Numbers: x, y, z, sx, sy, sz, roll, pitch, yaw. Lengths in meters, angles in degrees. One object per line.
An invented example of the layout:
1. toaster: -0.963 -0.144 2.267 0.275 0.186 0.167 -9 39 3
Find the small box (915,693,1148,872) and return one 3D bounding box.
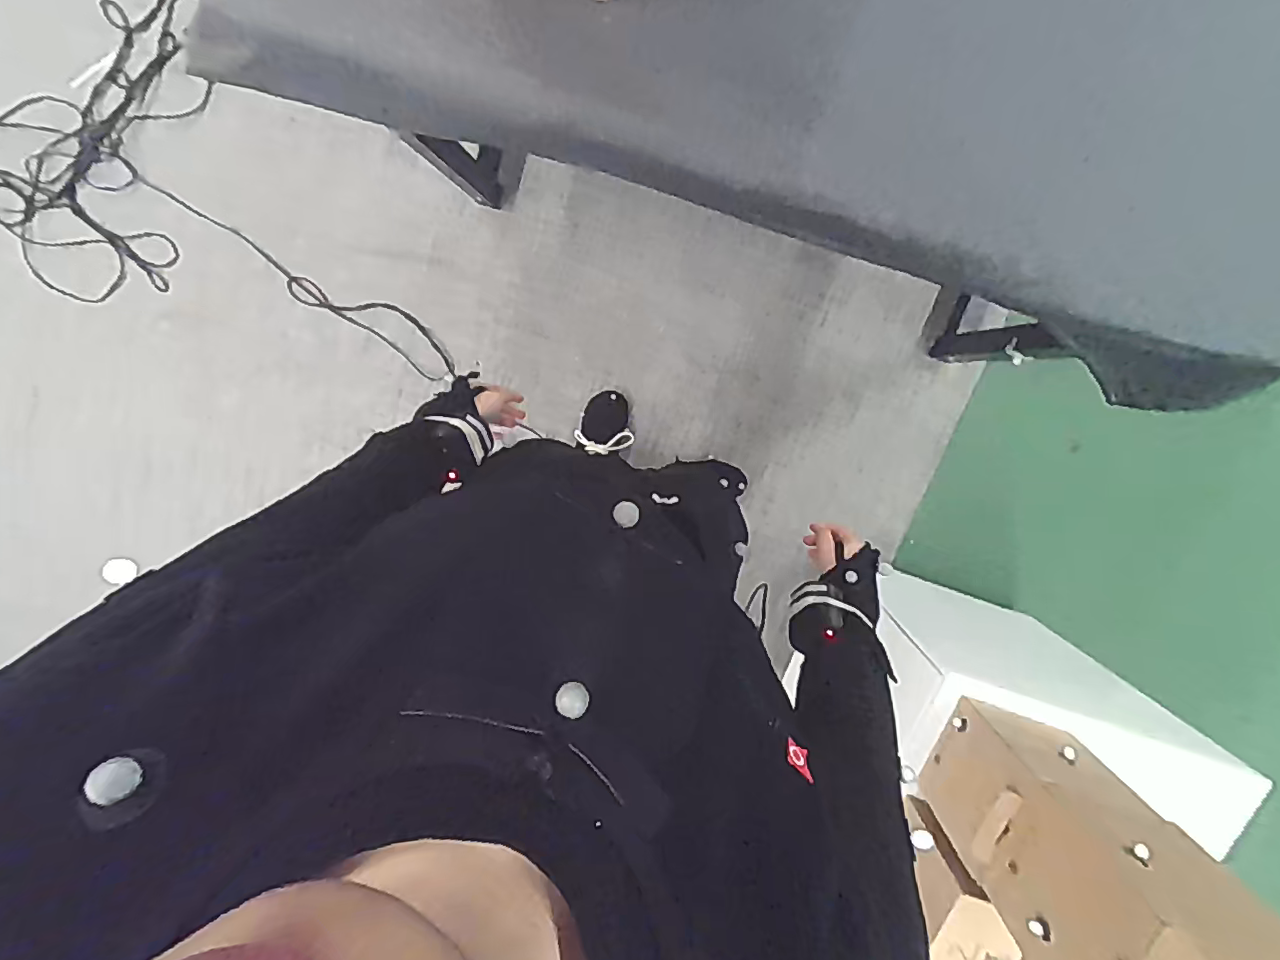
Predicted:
1. small box: 0.522 0.427 0.750 0.179 0.176 0.168 19 103 -2

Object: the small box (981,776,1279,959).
1. small box: 0.523 0.463 0.591 0.179 0.176 0.168 16 104 -2
